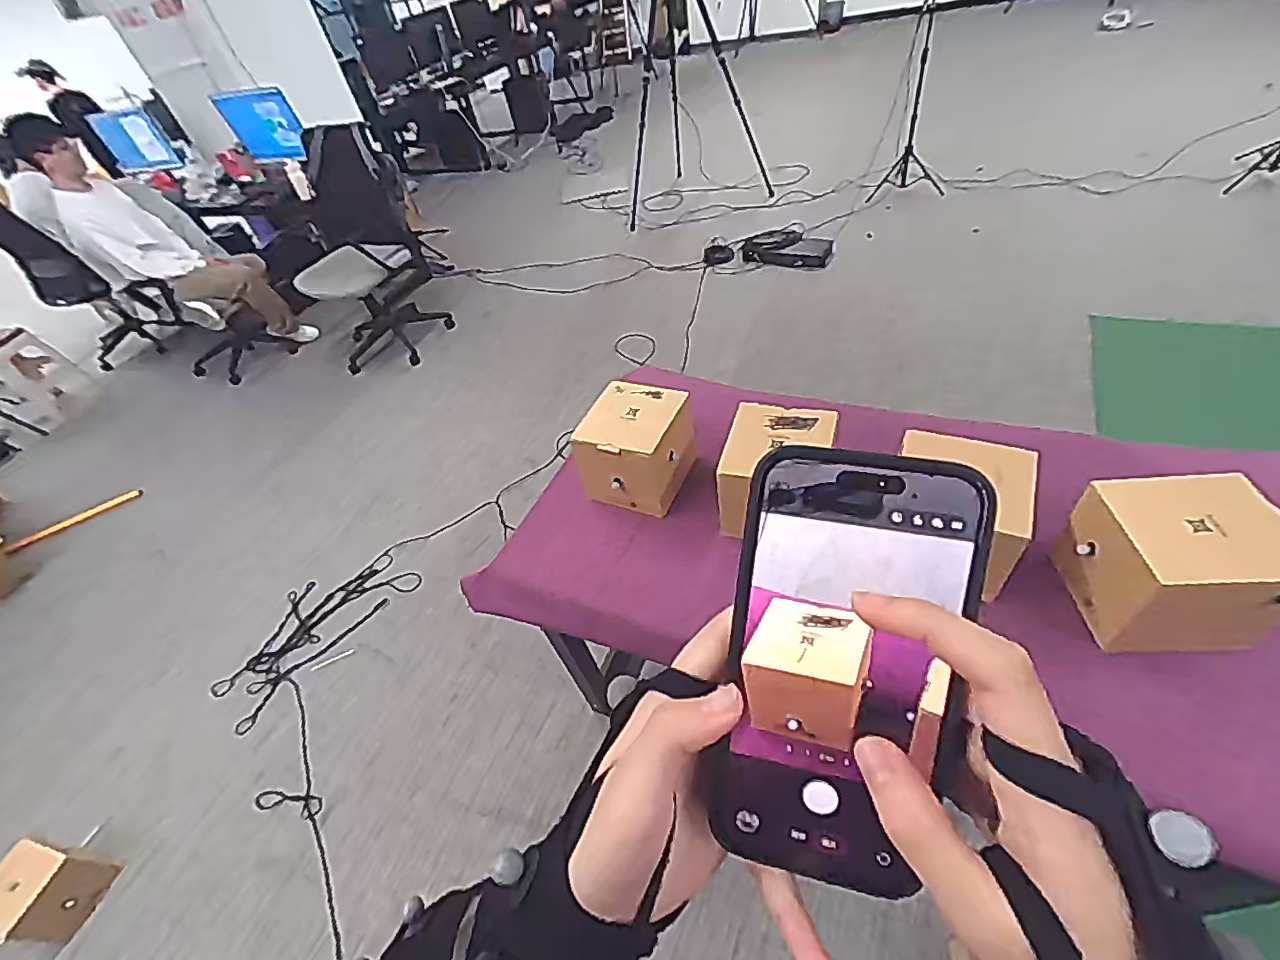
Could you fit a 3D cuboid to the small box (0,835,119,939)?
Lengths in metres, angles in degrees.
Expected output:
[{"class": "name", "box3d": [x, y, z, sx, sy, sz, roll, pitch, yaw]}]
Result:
[{"class": "small box", "box3d": [-1.491, 1.023, 1.357, 0.179, 0.176, 0.168, 5, 49, 18]}]

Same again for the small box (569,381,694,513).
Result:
[{"class": "small box", "box3d": [-0.005, -0.061, 1.034, 0.168, 0.176, 0.179, 14, 52, 24]}]

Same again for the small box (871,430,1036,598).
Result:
[{"class": "small box", "box3d": [0.463, 0.052, 0.818, 0.179, 0.176, 0.168, 16, 53, 25]}]

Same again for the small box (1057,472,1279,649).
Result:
[{"class": "small box", "box3d": [0.691, 0.109, 0.709, 0.179, 0.176, 0.168, -4, 46, 10]}]

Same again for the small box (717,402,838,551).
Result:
[{"class": "small box", "box3d": [0.235, -0.008, 0.927, 0.168, 0.176, 0.179, 9, 50, 21]}]
